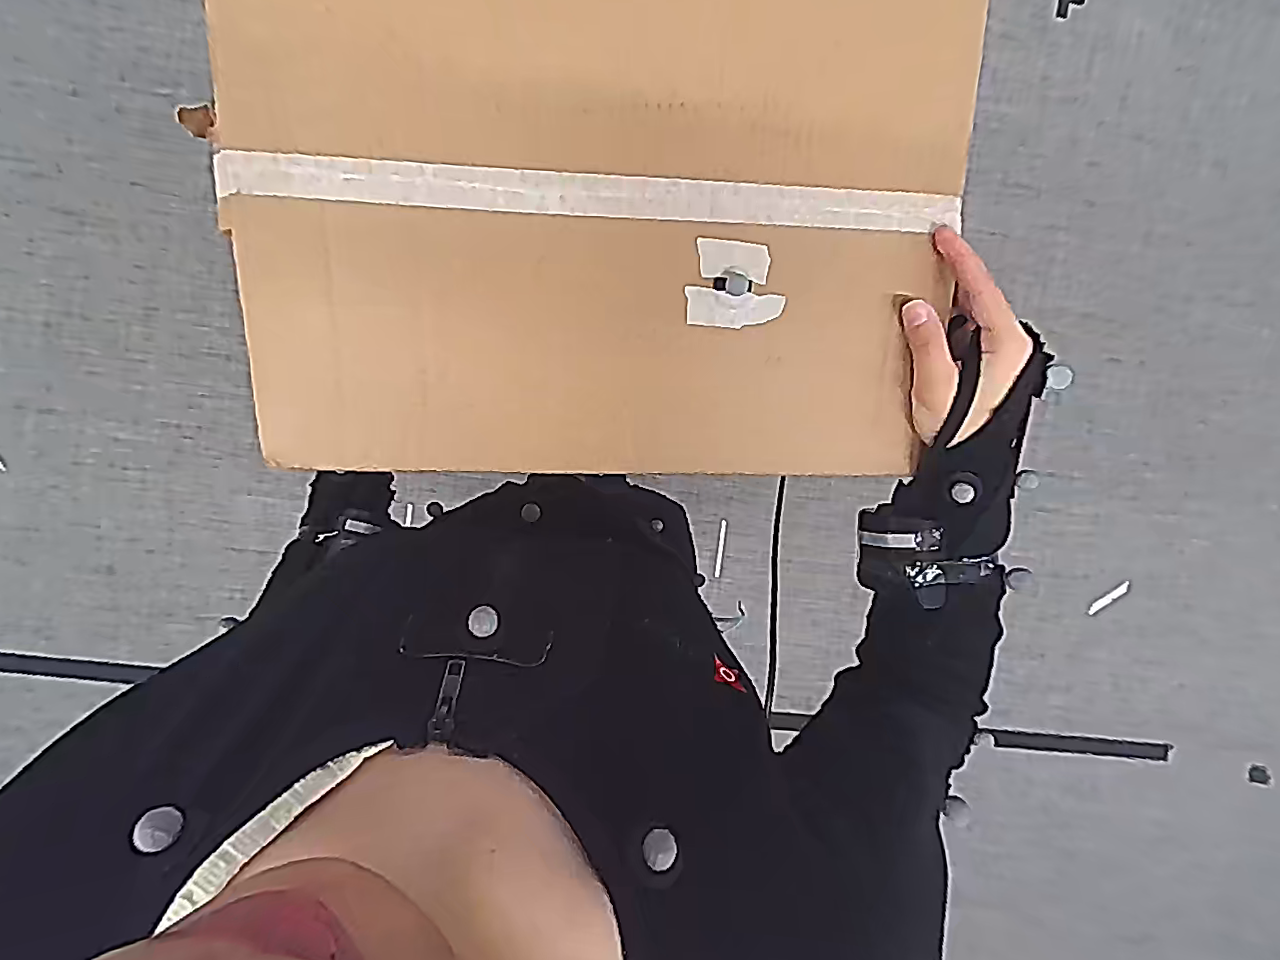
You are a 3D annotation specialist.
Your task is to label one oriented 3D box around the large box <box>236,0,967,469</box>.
[{"bbox_3d":[-0.028,-0.190,0.457,0.408,0.320,0.320,0,103,-7],"label":"large box"}]
